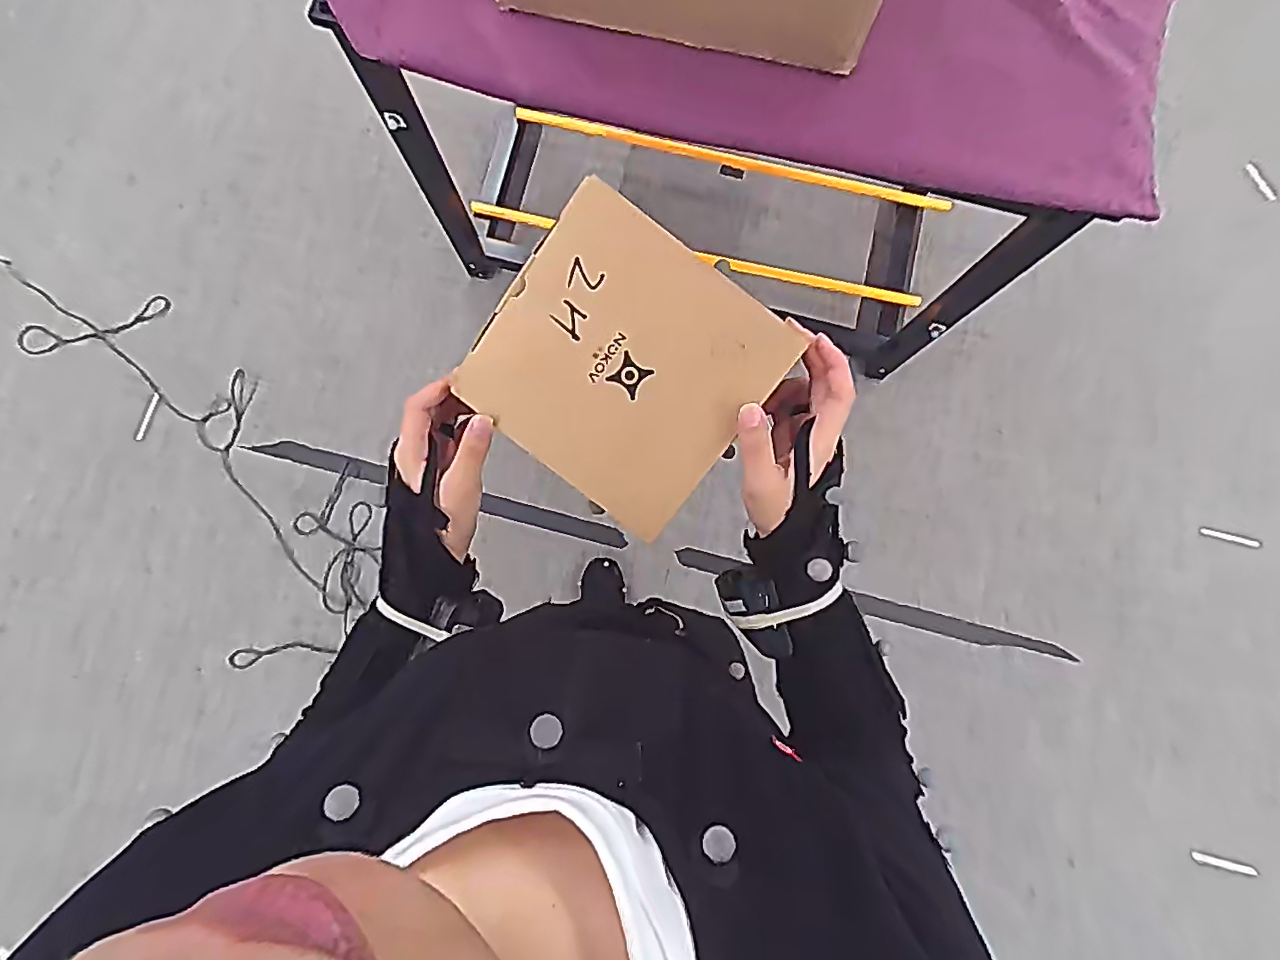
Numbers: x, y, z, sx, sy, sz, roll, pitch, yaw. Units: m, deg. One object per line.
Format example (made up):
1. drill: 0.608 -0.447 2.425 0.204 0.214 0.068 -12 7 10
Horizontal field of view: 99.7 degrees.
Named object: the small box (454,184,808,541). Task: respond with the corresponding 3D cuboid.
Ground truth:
1. small box: -0.002 -0.084 0.428 0.179 0.176 0.168 38 100 -1
